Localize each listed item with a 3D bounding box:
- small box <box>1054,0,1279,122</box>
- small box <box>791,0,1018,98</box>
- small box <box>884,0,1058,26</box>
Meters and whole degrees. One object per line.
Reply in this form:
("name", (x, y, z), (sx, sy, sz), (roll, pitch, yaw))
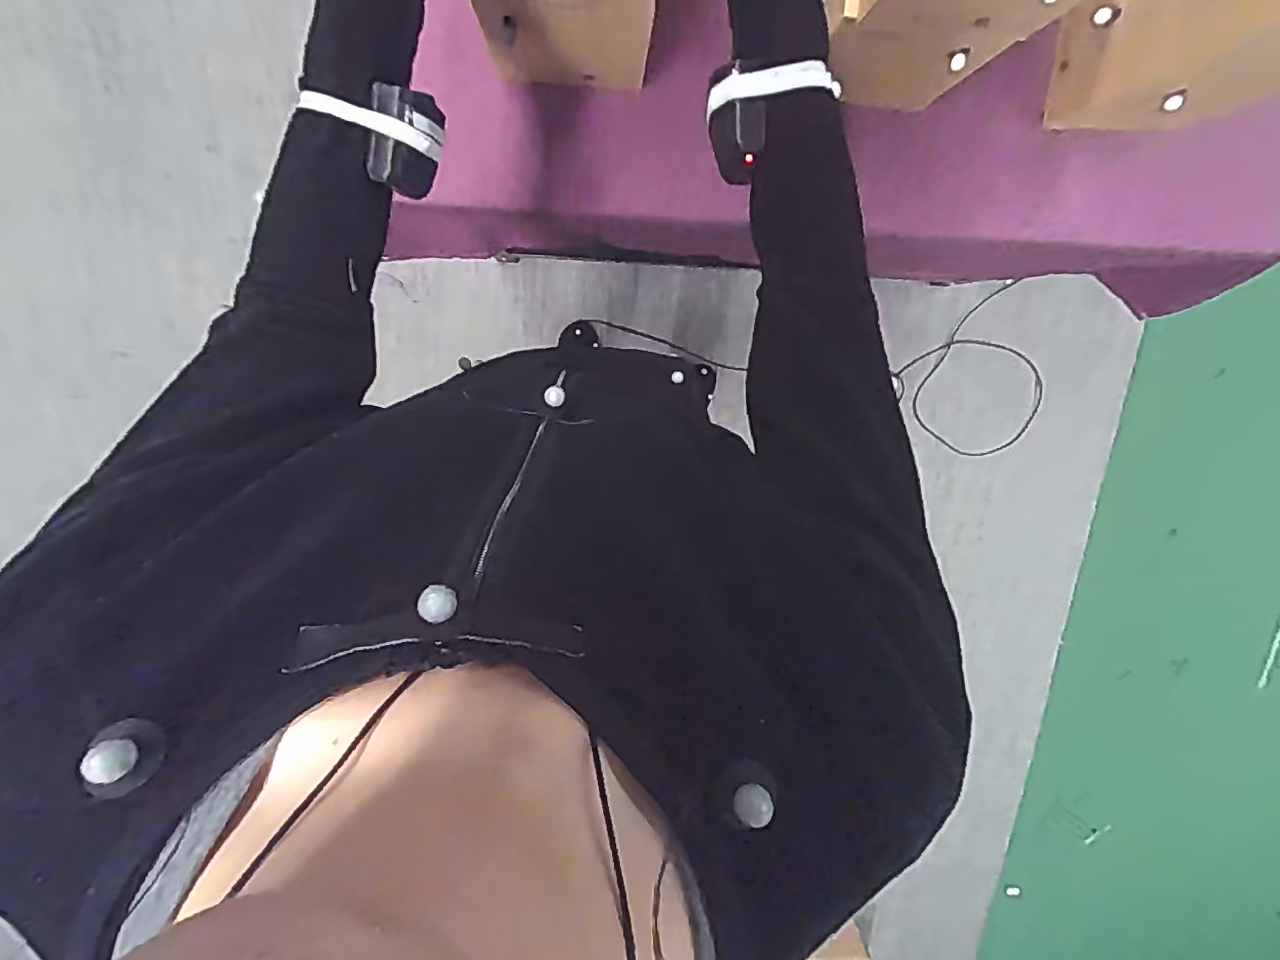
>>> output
("small box", (0.595, -0.505, 0.575), (0.179, 0.176, 0.168), (-1, 105, -3))
("small box", (0.269, -0.522, 0.551), (0.179, 0.176, 0.168), (2, 104, -5))
("small box", (0.288, -0.479, 0.395), (0.168, 0.176, 0.179), (1, 104, -6))
